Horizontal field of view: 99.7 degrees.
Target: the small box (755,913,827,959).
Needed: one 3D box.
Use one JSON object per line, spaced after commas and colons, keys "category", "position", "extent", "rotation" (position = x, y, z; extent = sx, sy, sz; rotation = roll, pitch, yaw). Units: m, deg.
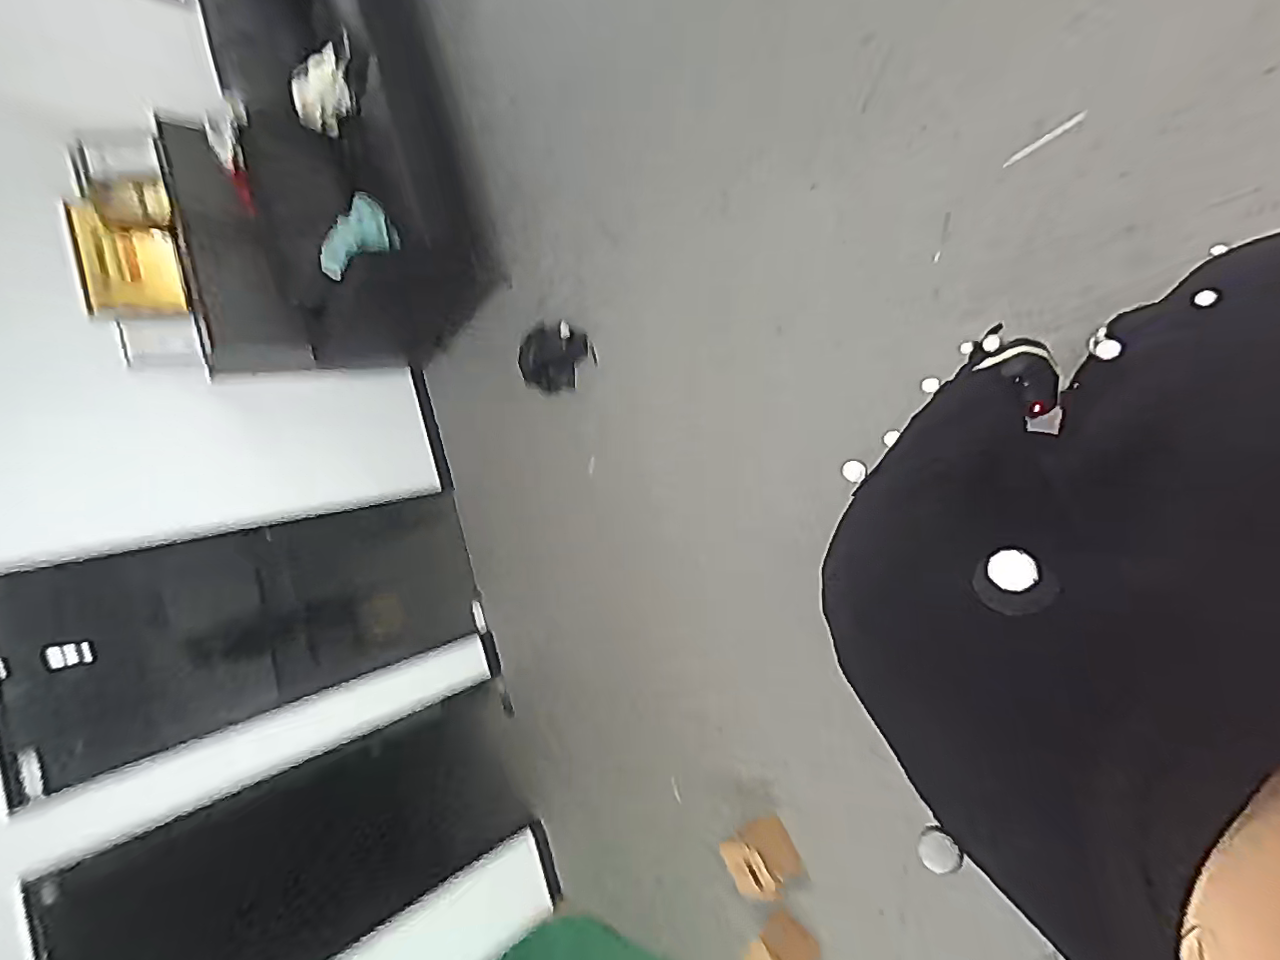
{"category": "small box", "position": [0.509, 1.640, 1.839], "extent": [0.168, 0.176, 0.179], "rotation": [30, 122, 42]}
